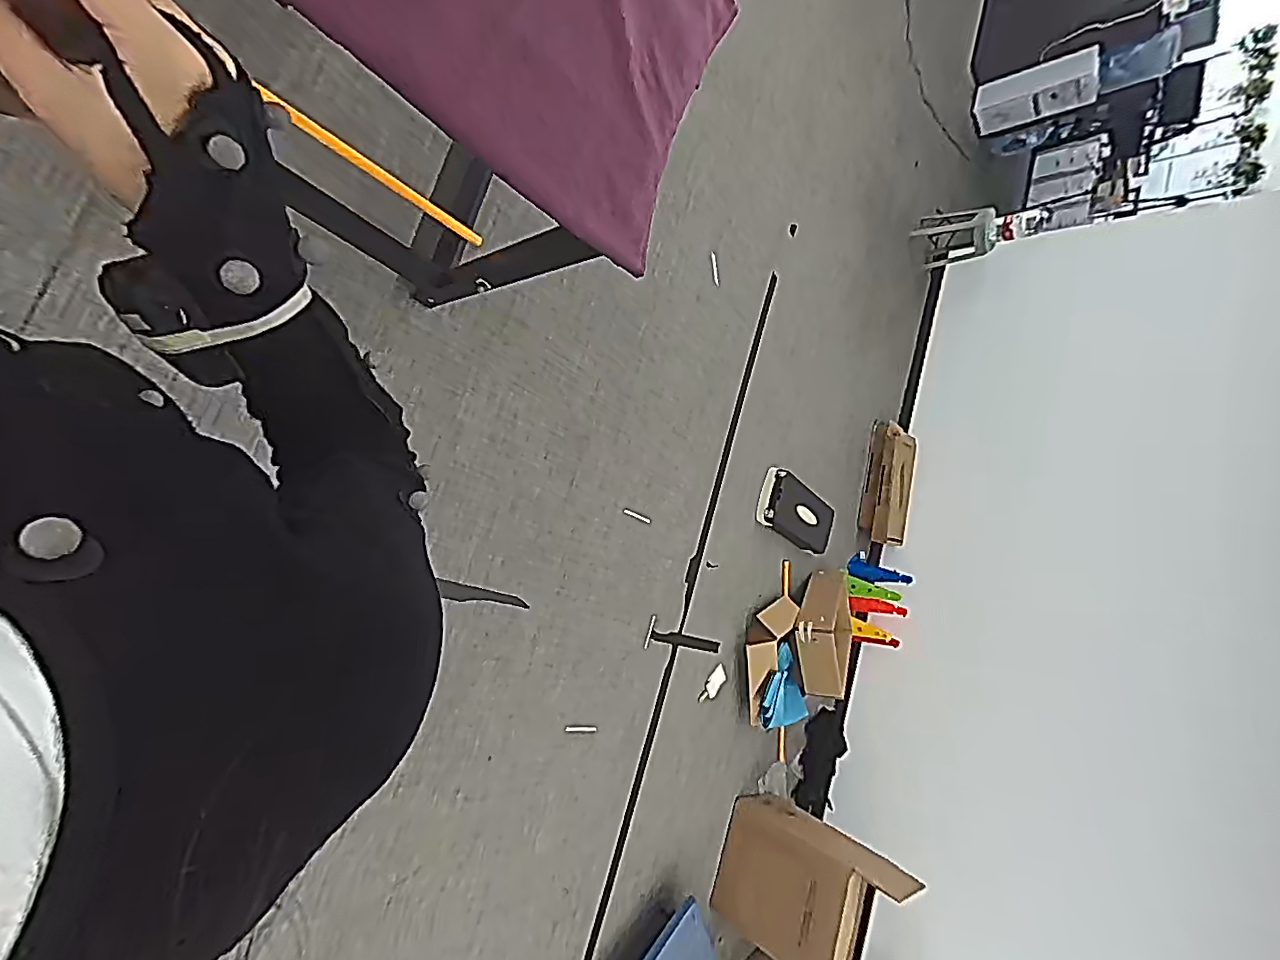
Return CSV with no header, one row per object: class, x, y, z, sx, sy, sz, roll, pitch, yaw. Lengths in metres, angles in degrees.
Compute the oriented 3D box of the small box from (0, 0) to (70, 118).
small box,-0.322,-0.255,0.169,0.168,0.176,0.179,-13,100,-40
